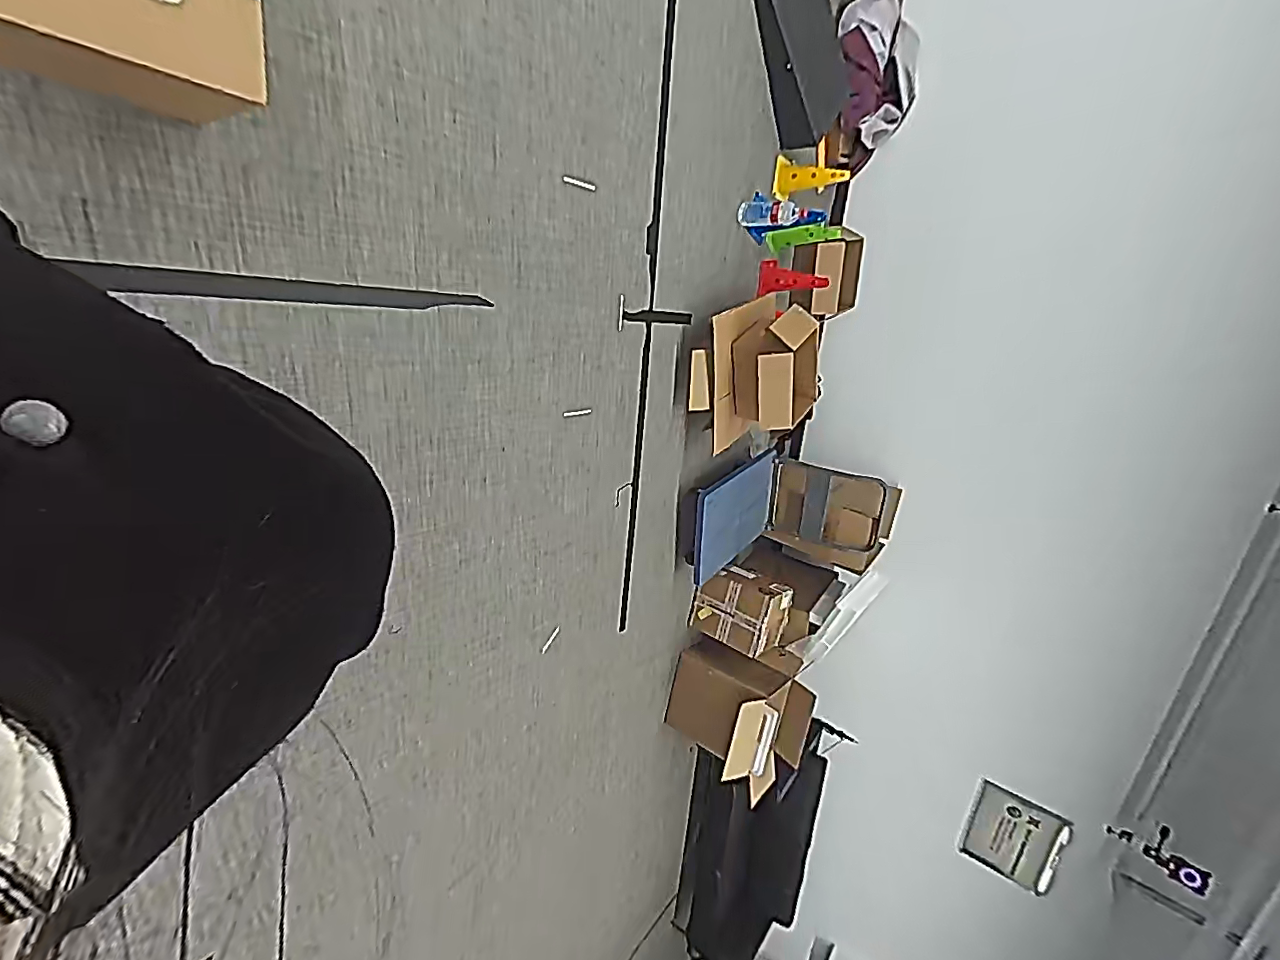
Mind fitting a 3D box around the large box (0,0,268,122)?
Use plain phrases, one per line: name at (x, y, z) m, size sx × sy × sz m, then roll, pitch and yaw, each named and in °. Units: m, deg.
large box at (-0.849, -0.780, 0.793) m, size 0.408 × 0.320 × 0.320 m, roll -16°, pitch 118°, yaw -52°
